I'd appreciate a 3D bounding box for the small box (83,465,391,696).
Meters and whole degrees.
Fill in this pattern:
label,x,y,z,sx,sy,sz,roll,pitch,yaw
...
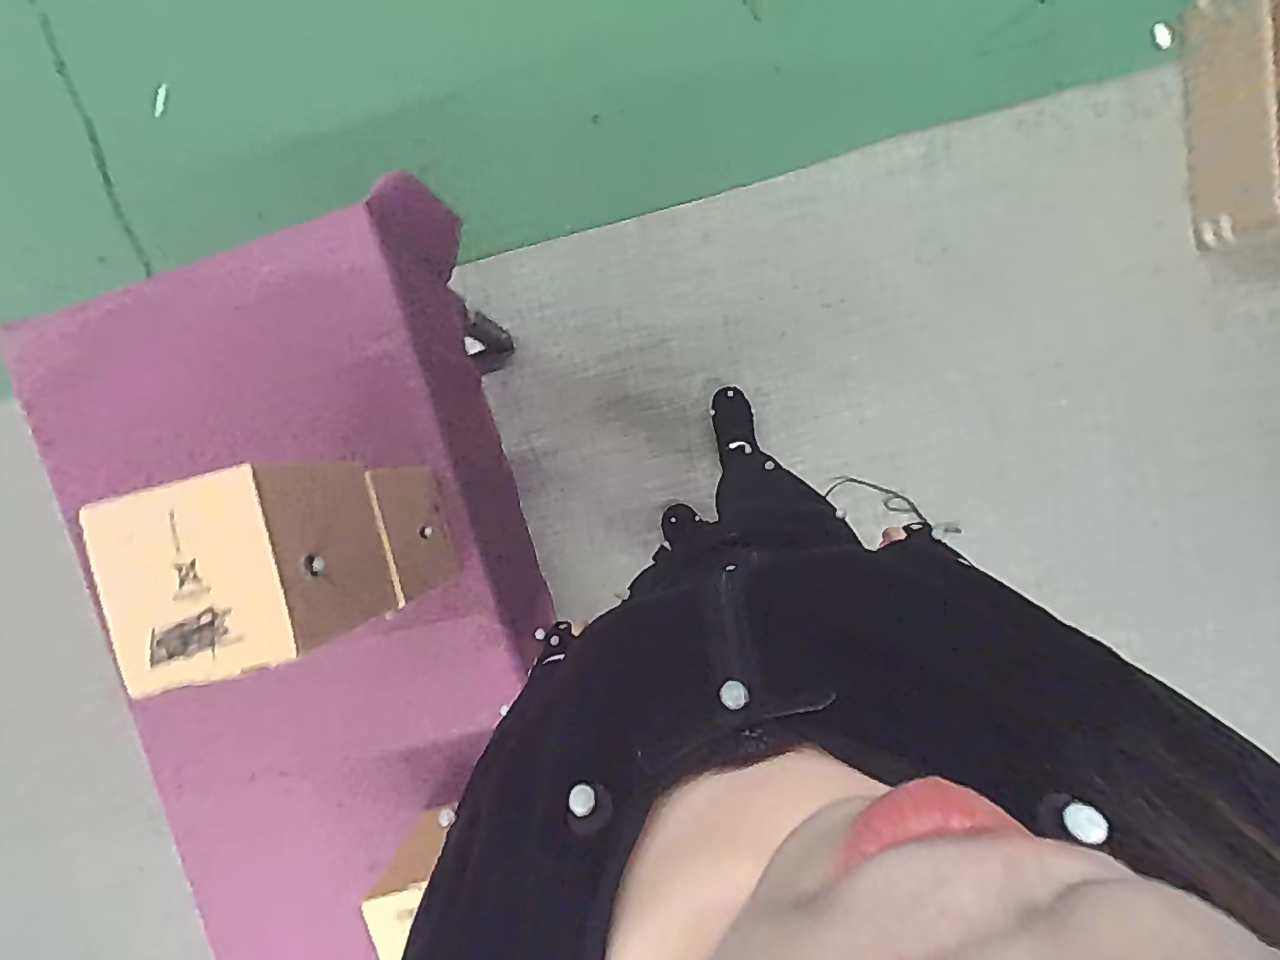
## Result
label,x,y,z,sx,sy,sz,roll,pitch,yaw
small box,-0.384,0.086,0.549,0.168,0.176,0.179,-14,91,3

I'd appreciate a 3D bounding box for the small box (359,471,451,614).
label,x,y,z,sx,sy,sz,roll,pitch,yaw
small box,-0.369,0.086,0.713,0.179,0.176,0.168,-15,91,4
